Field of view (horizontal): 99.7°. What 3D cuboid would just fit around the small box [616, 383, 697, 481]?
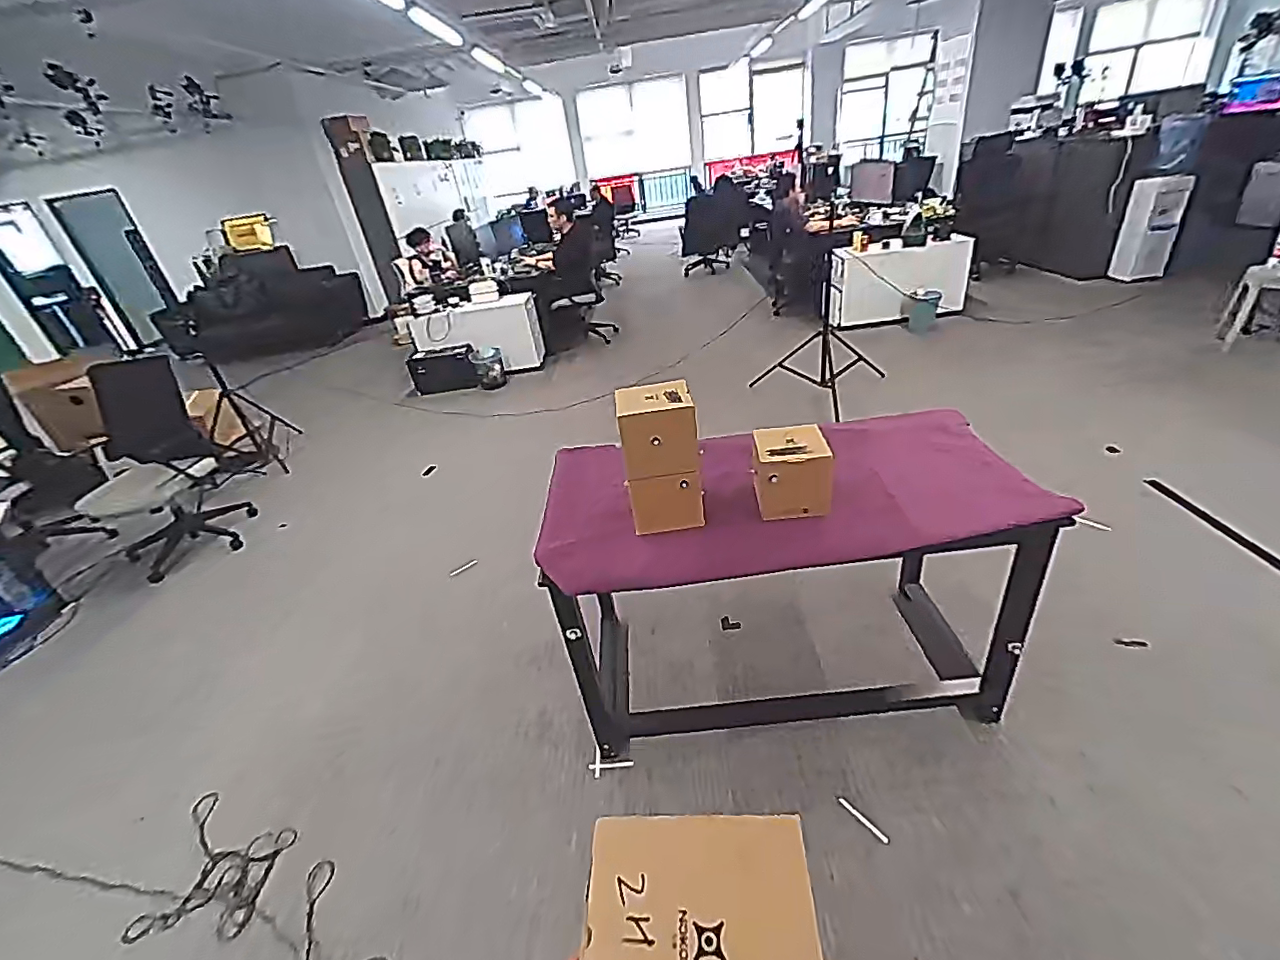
[{"bbox_3d":[0.041,-0.116,1.298,0.179,0.176,0.168,-9,30,1],"label":"small box"}]

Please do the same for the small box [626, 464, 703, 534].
[{"bbox_3d":[0.061,0.022,1.386,0.179,0.176,0.168,-8,31,1],"label":"small box"}]

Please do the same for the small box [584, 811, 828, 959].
[{"bbox_3d":[0.058,0.395,0.441,0.179,0.176,0.168,-5,36,8],"label":"small box"}]
